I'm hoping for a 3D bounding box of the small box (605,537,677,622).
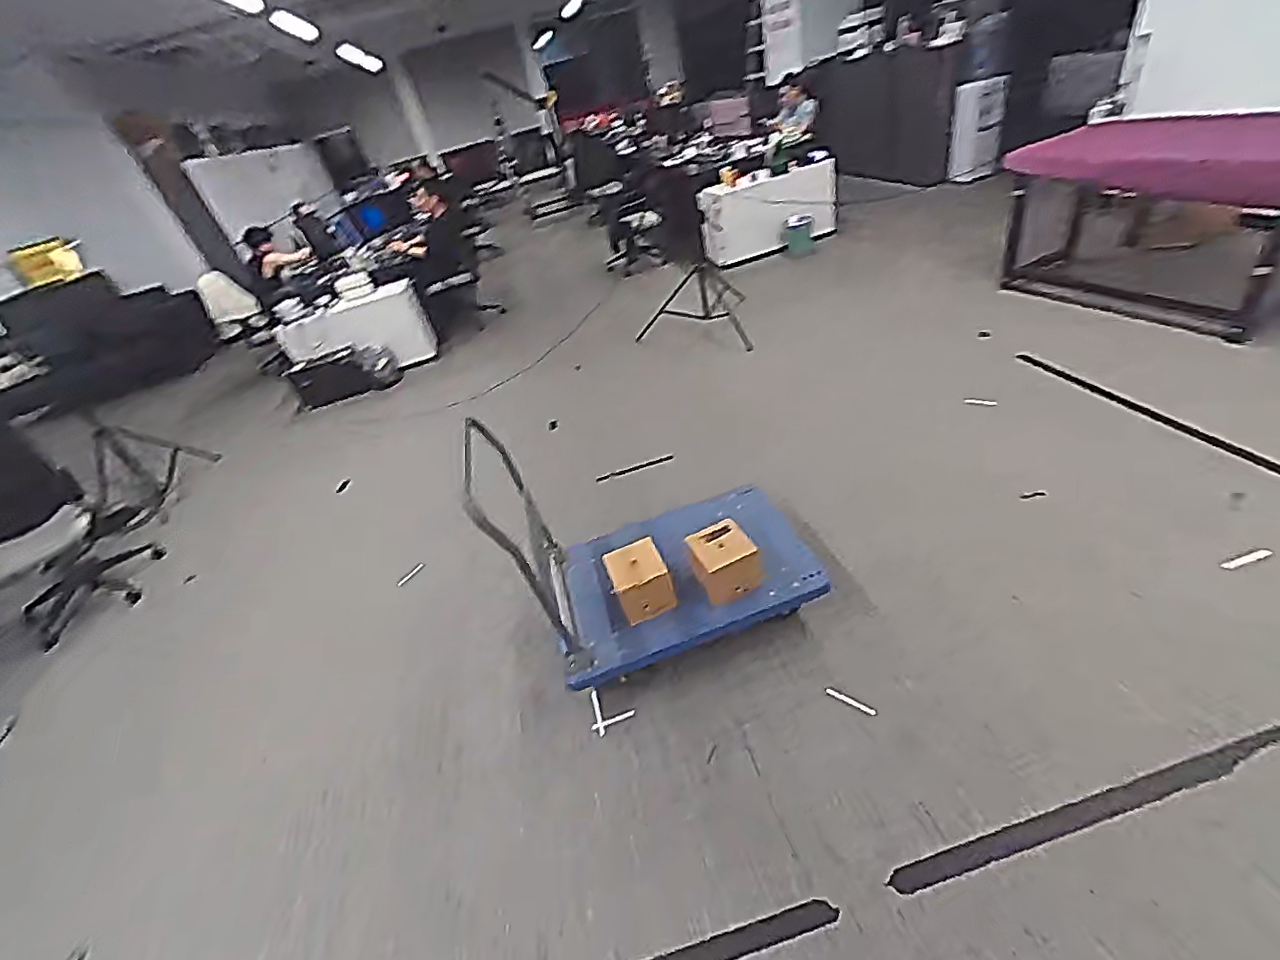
[{"bbox_3d":[0.004,0.318,1.723,0.168,0.176,0.179,-21,37,-8],"label":"small box"}]
